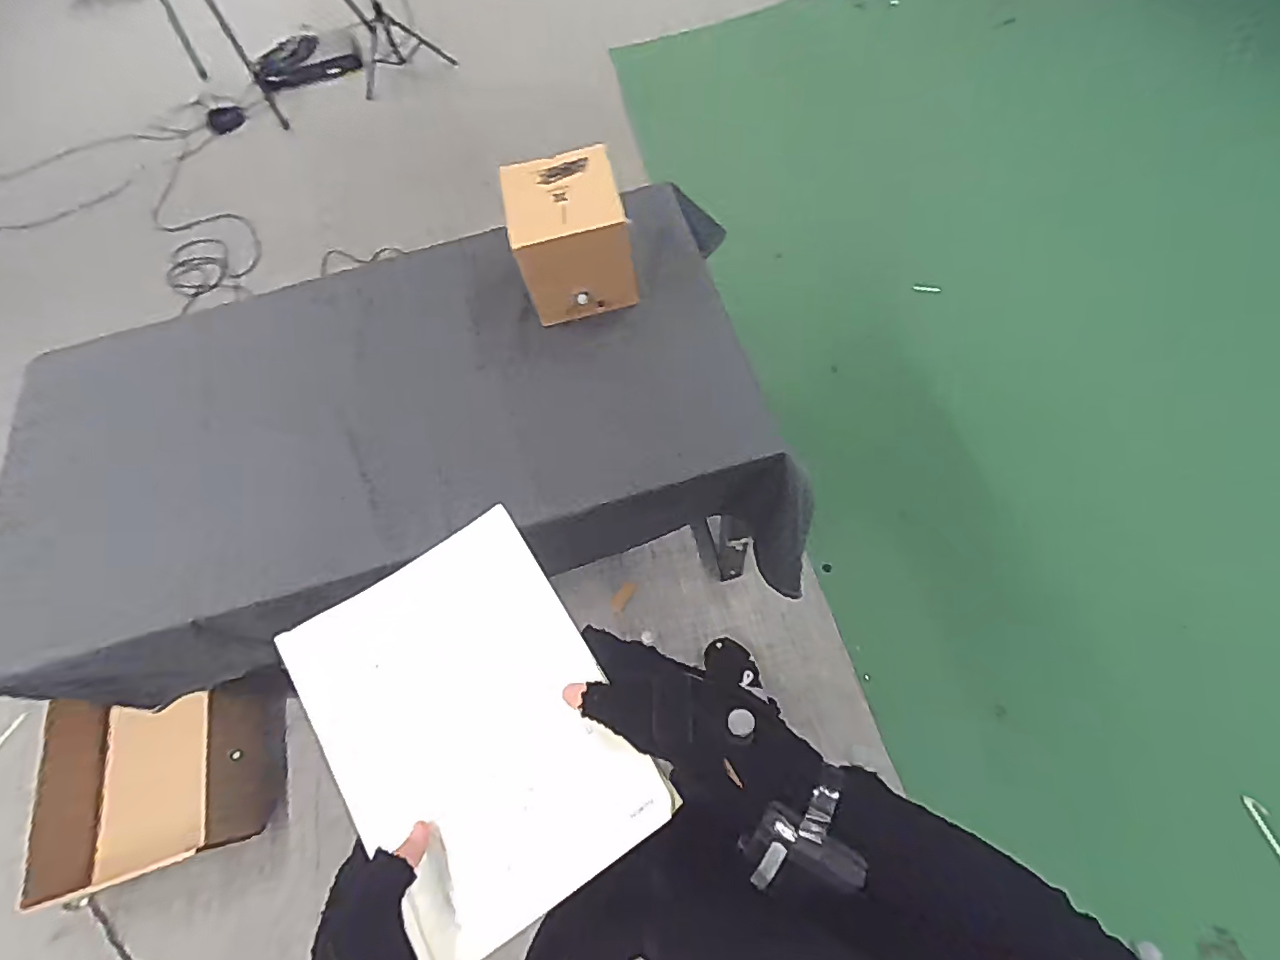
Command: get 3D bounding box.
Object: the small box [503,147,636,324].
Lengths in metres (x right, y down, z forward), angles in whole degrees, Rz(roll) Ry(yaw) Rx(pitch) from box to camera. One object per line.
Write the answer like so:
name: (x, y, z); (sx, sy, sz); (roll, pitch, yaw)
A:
small box: (-0.107, -0.382, 0.863); (0.168, 0.176, 0.179); (-14, 66, 1)
